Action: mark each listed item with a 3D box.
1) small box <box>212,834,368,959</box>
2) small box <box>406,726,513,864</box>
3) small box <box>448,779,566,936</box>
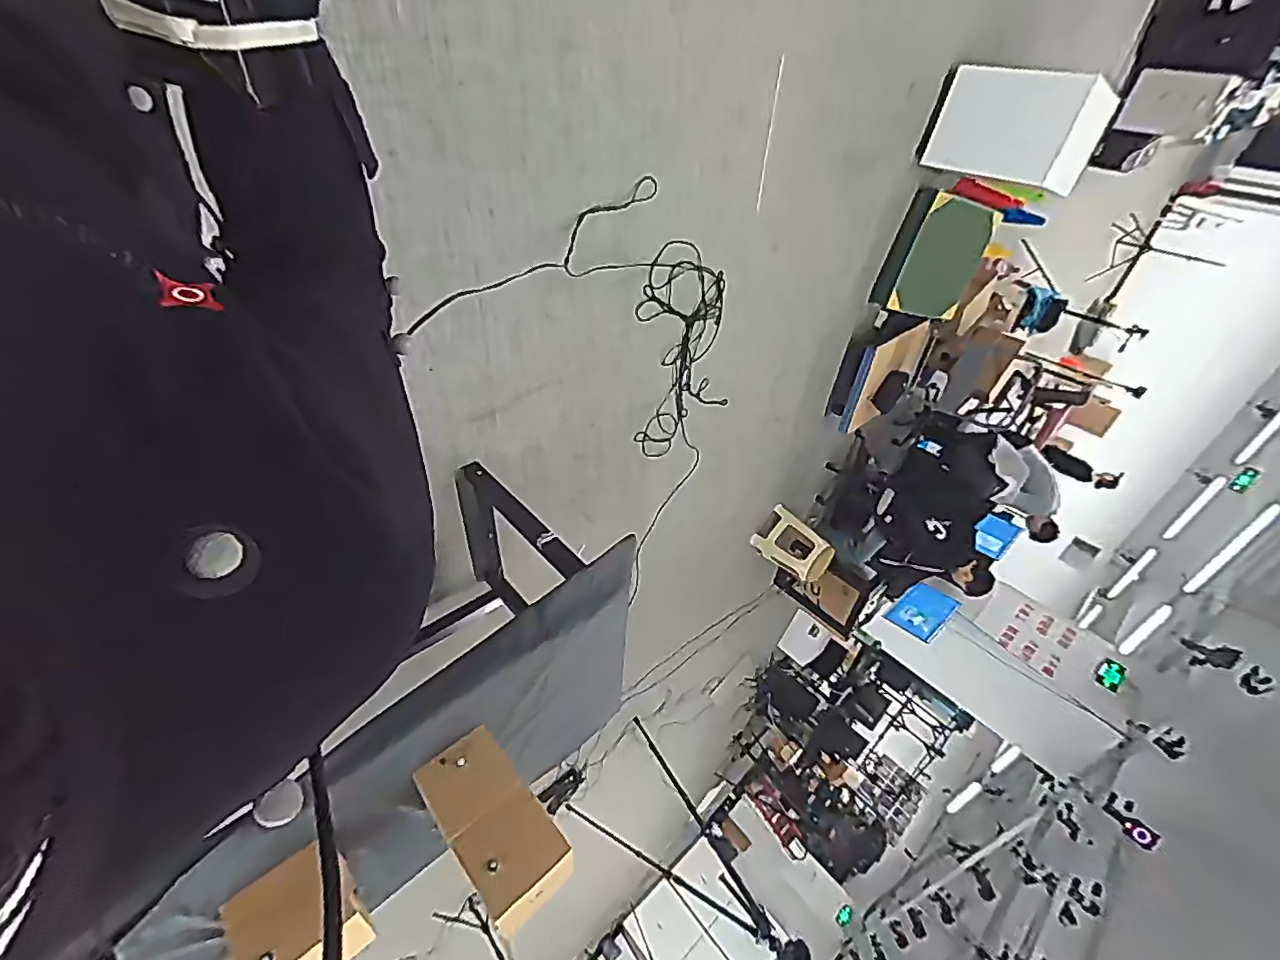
[{"bbox_3d":[-0.634,0.799,0.988,0.179,0.176,0.168,-26,139,-34],"label":"small box"},{"bbox_3d":[-0.385,0.679,1.181,0.168,0.176,0.179,-28,139,-34],"label":"small box"},{"bbox_3d":[-0.271,0.758,1.096,0.179,0.176,0.168,-30,142,-33],"label":"small box"}]
